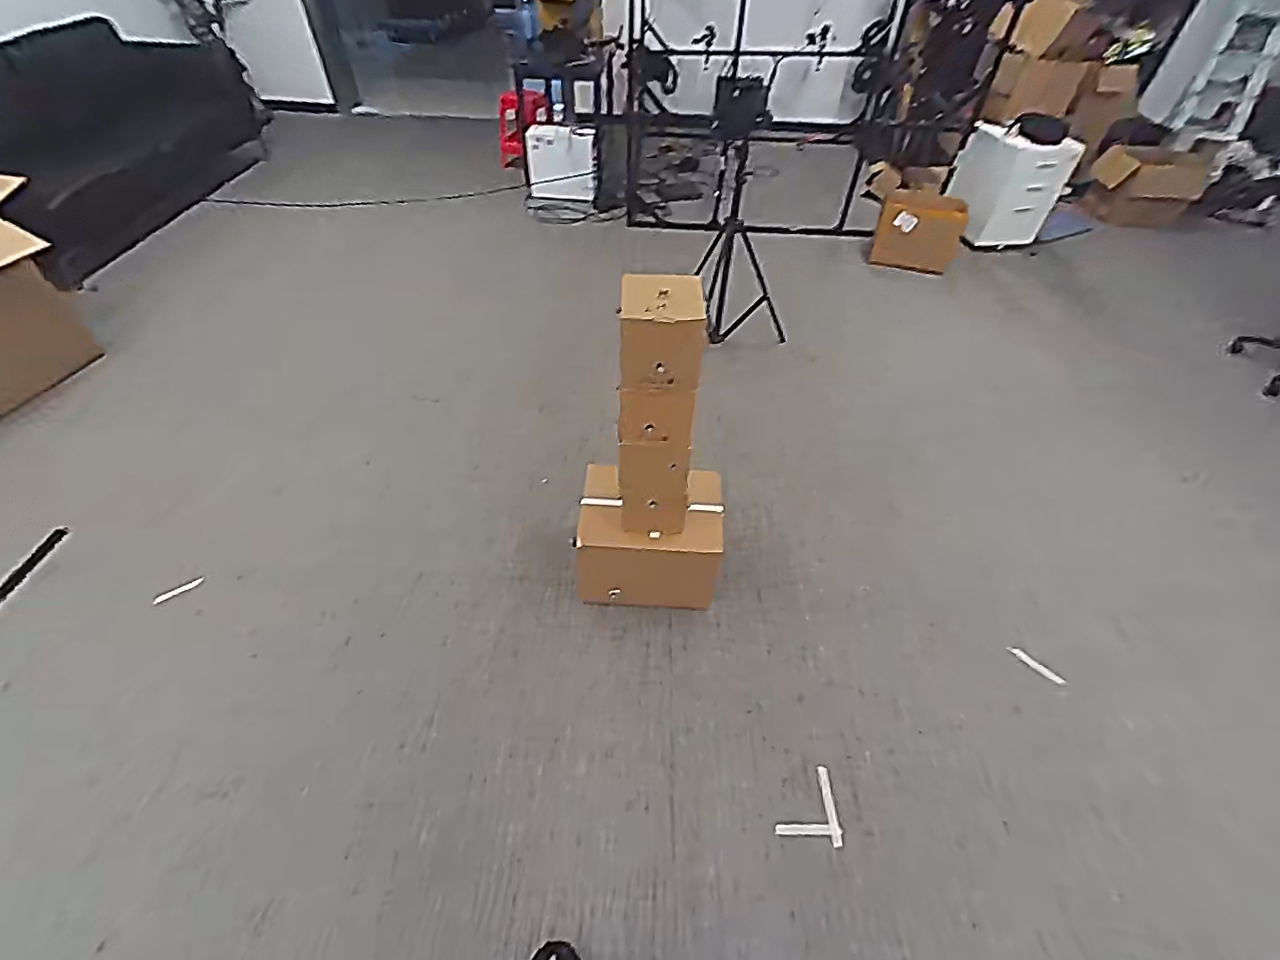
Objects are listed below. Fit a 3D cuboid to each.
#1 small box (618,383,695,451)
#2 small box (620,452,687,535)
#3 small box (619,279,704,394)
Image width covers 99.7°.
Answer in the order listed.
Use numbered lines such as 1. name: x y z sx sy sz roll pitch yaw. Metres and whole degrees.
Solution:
1. small box: 0.036 -0.190 1.264 0.168 0.176 0.179 2 48 -1
2. small box: 0.035 0.040 1.496 0.179 0.176 0.168 2 48 -2
3. small box: 0.040 -0.304 1.145 0.168 0.176 0.179 1 48 -1
